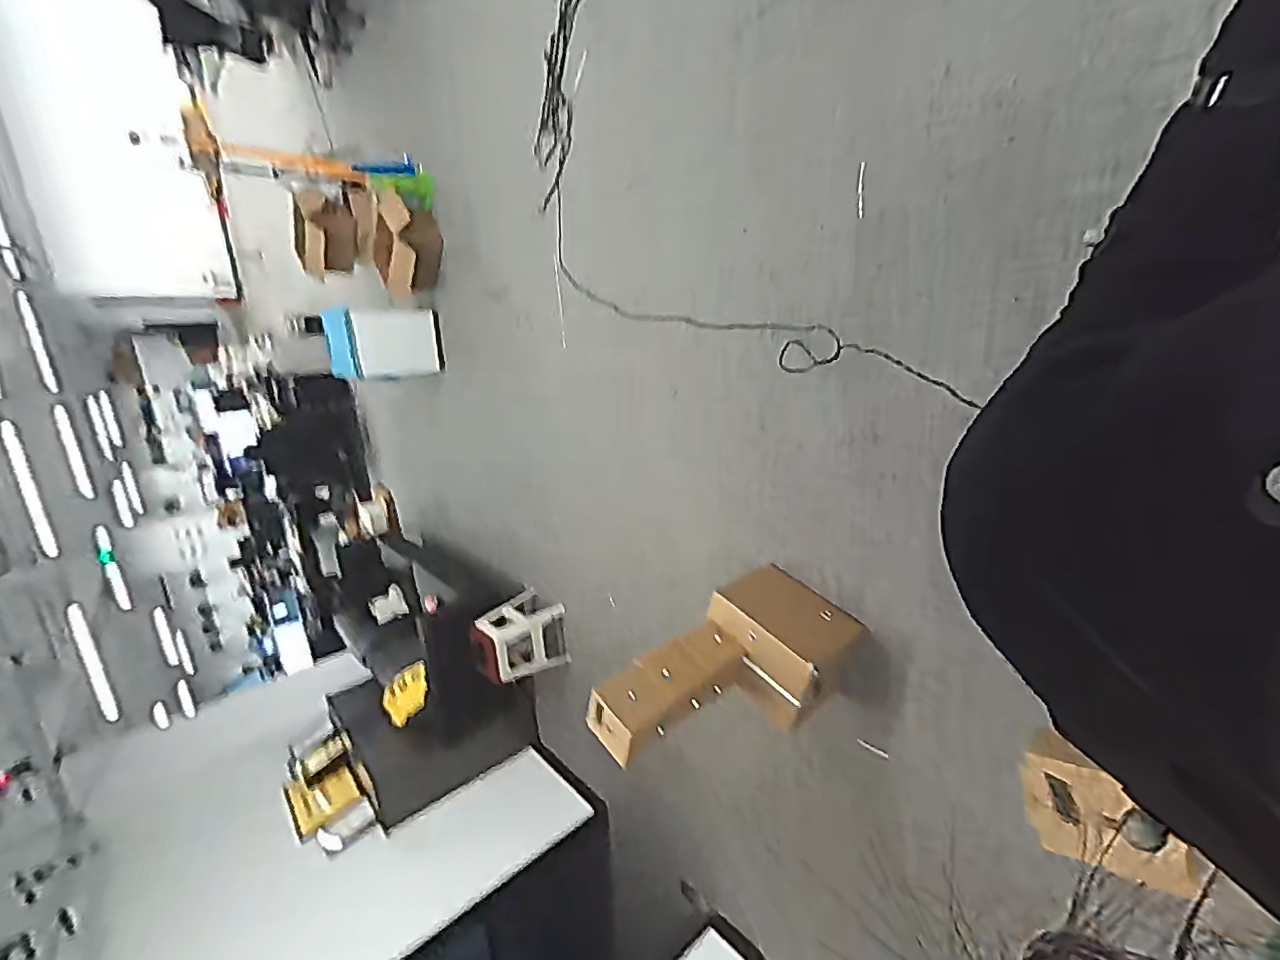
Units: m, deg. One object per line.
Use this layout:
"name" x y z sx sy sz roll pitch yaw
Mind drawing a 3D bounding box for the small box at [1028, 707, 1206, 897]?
"small box" 0.743 0.479 0.843 0.179 0.176 0.168 -8 96 50

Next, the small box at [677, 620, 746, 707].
"small box" 0.224 0.596 1.774 0.168 0.176 0.179 36 129 38

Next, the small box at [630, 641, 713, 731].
"small box" 0.096 0.629 1.681 0.179 0.176 0.168 37 130 37
